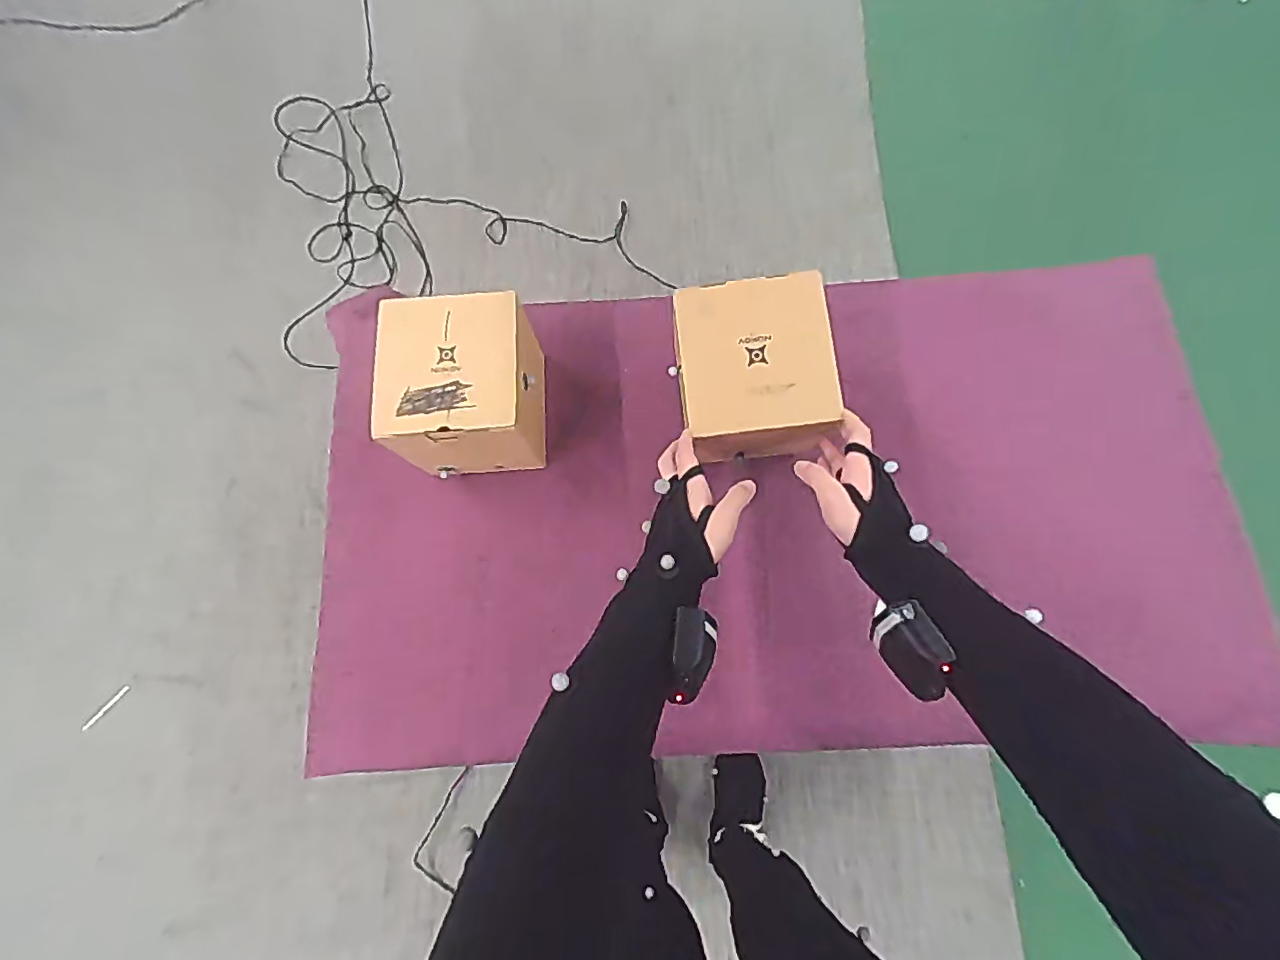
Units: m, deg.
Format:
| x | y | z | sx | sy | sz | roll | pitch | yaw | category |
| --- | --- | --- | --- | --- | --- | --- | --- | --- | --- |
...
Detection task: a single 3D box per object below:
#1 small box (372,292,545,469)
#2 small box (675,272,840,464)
| x | y | z | sx | sy | sz | roll | pitch | yaw | category |
| --- | --- | --- | --- | --- | --- | --- | --- | --- | --- |
| -0.221 | -0.116 | 0.702 | 0.168 | 0.176 | 0.179 | -3 | 75 | 1 | small box |
| 0.131 | -0.126 | 0.669 | 0.168 | 0.176 | 0.179 | -6 | 81 | 5 | small box |
